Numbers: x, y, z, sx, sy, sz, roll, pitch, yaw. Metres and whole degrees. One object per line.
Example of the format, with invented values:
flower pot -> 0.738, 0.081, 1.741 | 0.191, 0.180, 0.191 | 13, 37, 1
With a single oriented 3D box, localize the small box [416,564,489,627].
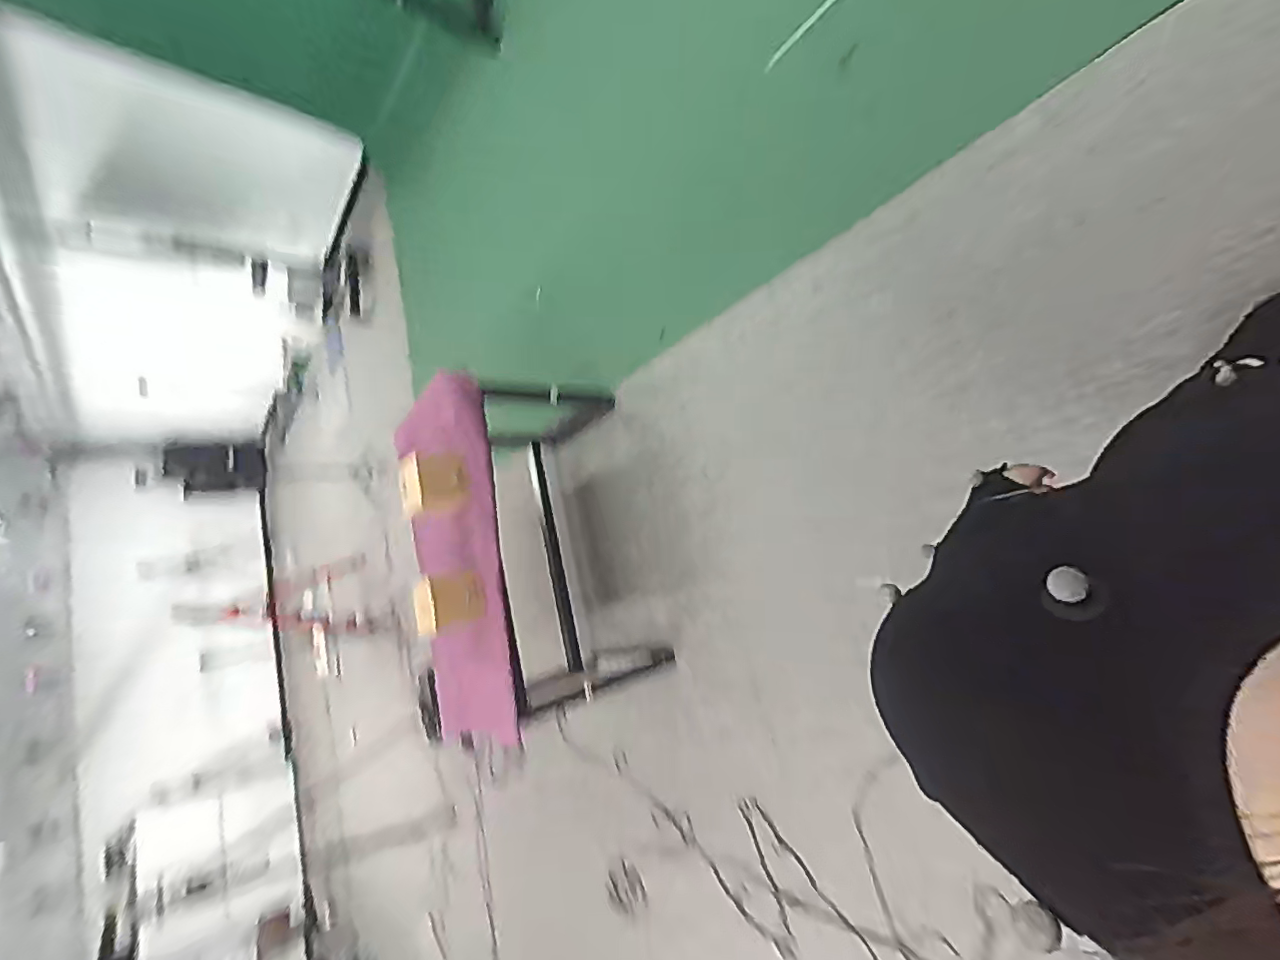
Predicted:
small box -> -0.619, 0.381, 1.787 | 0.179, 0.176, 0.168 | -26, 74, 47

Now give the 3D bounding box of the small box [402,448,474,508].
small box -> -0.685, -0.005, 1.835 | 0.179, 0.176, 0.168 | -23, 76, 46
